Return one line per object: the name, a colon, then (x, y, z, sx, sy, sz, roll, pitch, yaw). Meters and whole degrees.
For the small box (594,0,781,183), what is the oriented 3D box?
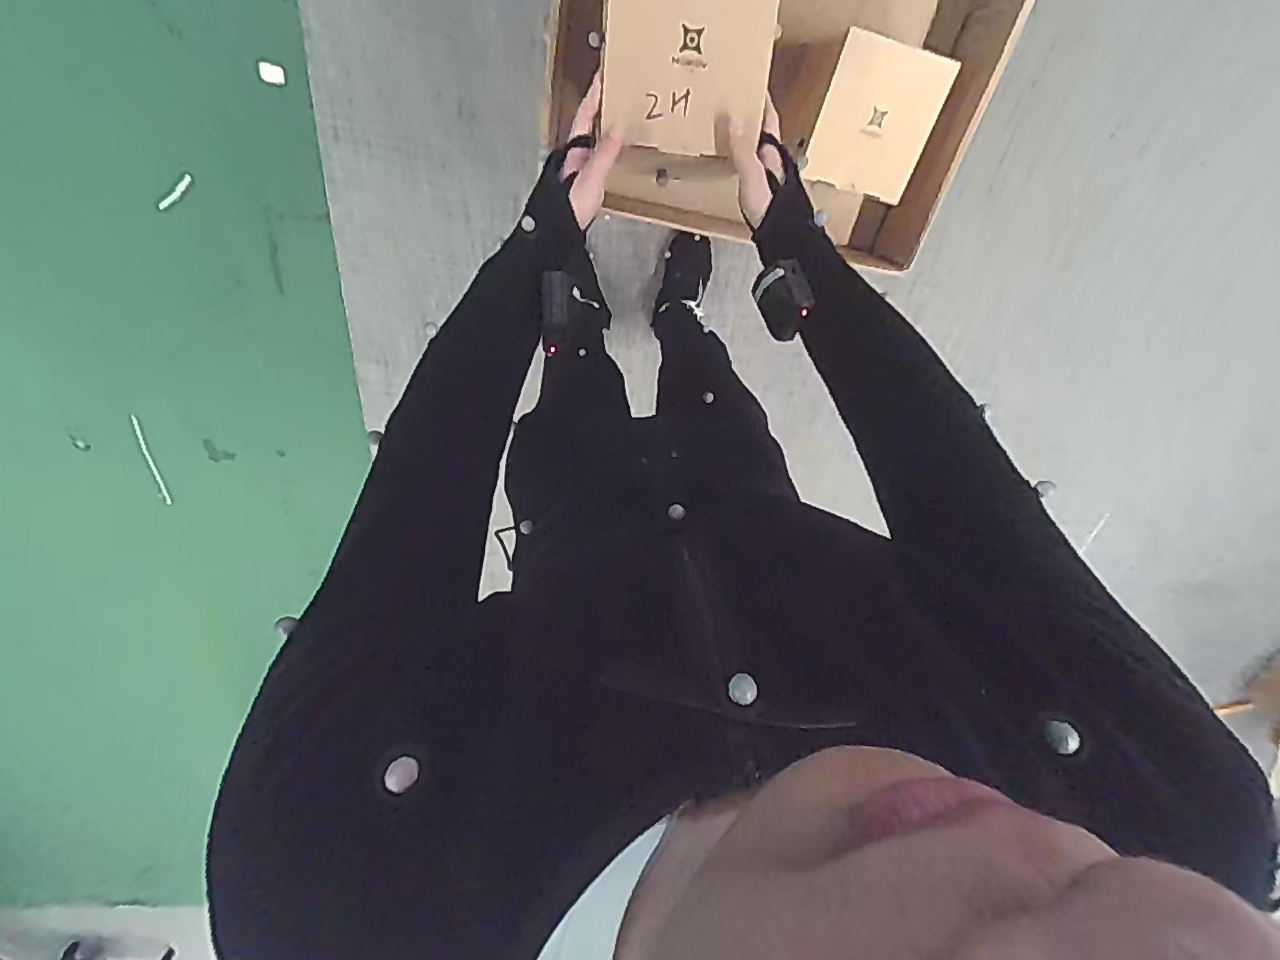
small box: (0.039, -0.444, 0.589, 0.168, 0.176, 0.179, 3, 110, -8)

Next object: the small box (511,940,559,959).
small box: (-0.370, 1.745, 1.887, 0.168, 0.176, 0.179, 3, 122, -6)

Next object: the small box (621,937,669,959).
small box: (0.018, 1.745, 1.906, 0.168, 0.176, 0.179, 1, 123, -3)
